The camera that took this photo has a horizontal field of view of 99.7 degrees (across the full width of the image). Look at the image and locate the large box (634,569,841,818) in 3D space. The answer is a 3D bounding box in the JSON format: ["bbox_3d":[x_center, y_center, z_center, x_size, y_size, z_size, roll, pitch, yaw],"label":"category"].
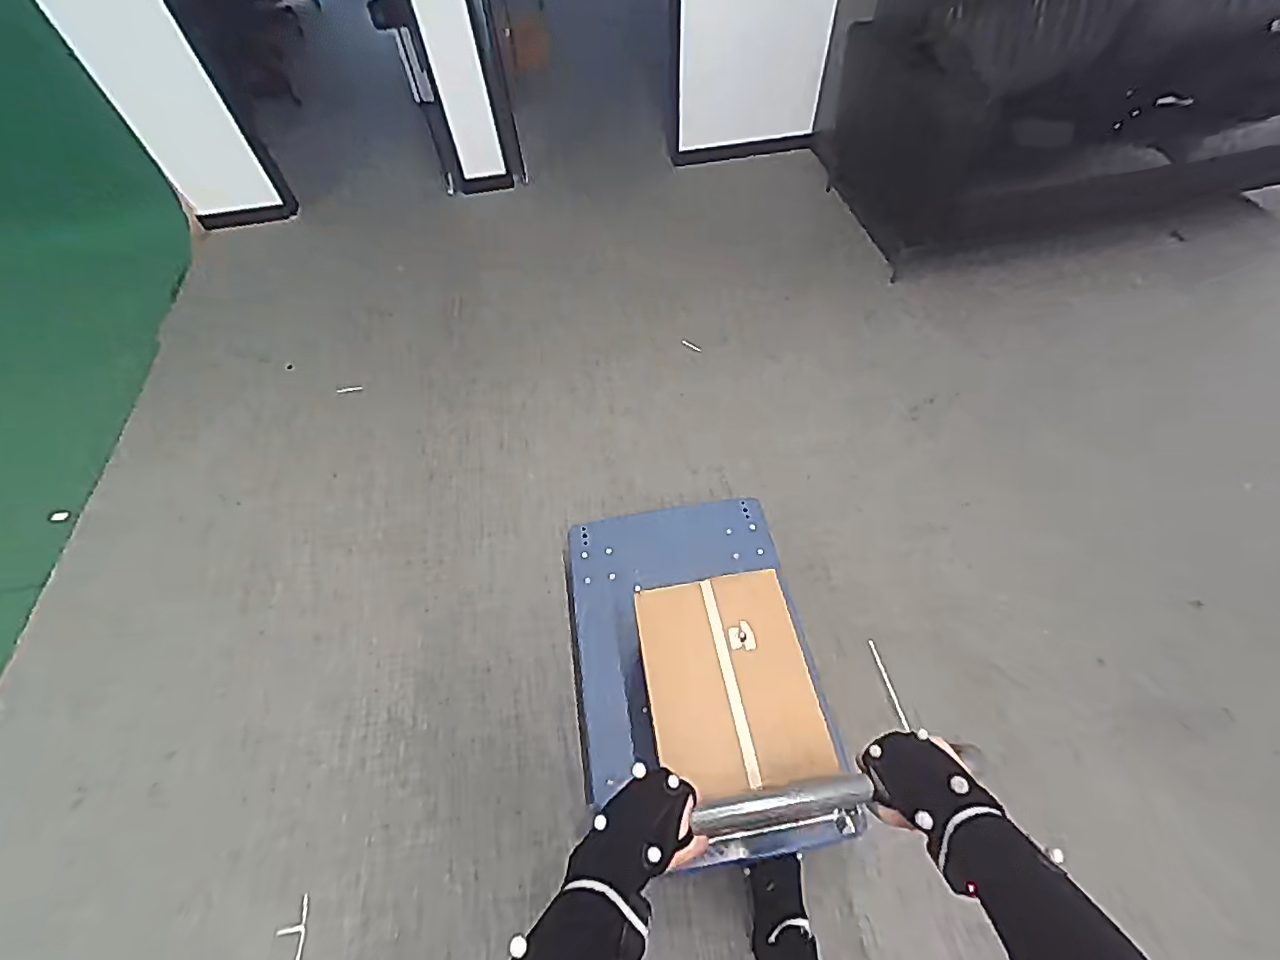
[{"bbox_3d":[0.182,0.462,1.173,0.320,0.320,0.408,-9,54,-4],"label":"large box"}]
